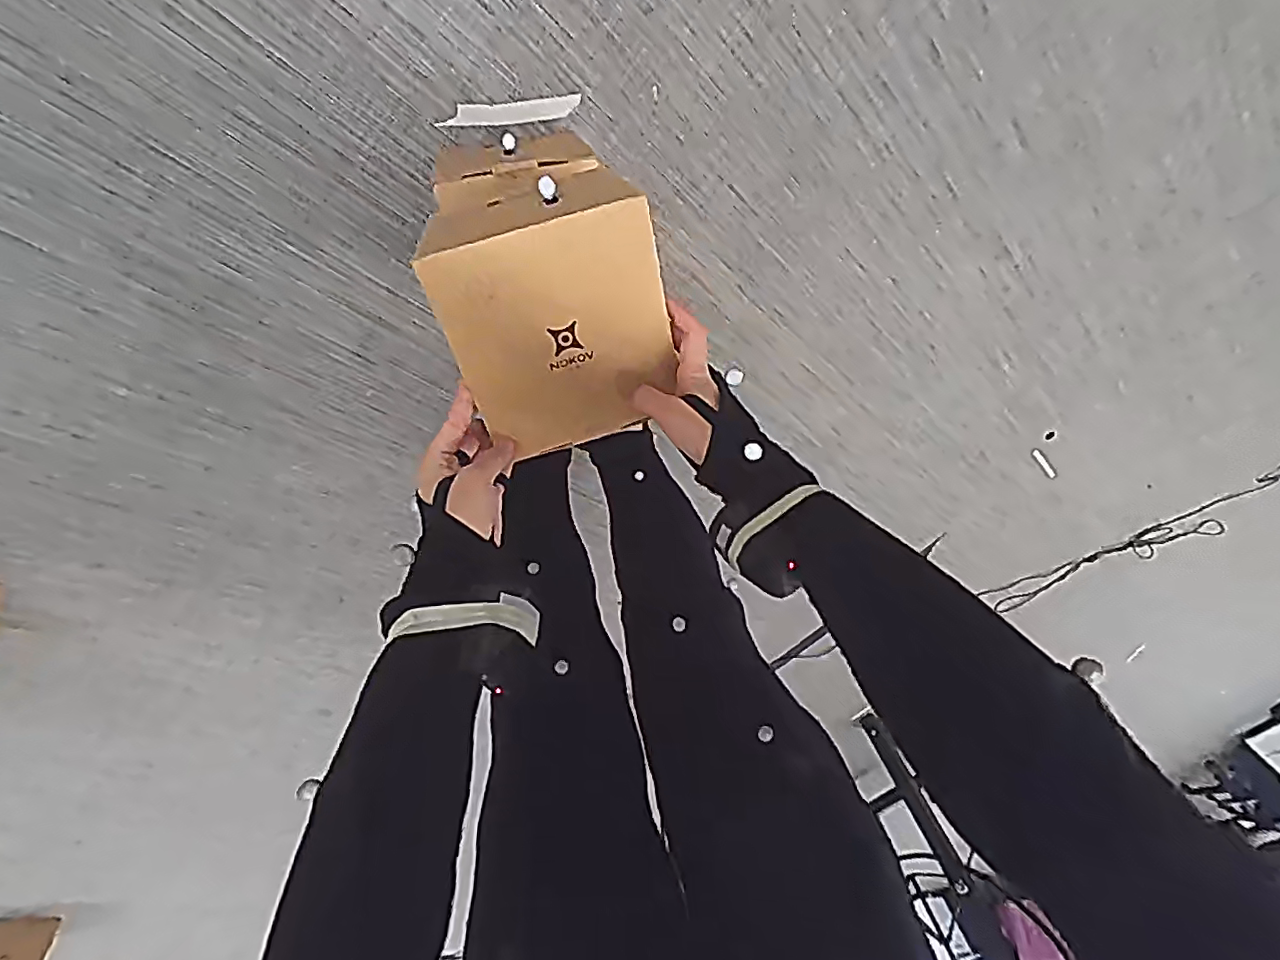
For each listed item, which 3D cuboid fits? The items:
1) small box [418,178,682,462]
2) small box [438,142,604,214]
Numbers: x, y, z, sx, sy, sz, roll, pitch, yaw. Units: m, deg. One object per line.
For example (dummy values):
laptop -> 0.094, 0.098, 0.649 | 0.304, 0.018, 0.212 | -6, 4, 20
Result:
small box -> -0.076, -0.150, 0.477 | 0.168, 0.176, 0.179 | -18, 128, -4
small box -> -0.130, -0.285, 0.639 | 0.168, 0.176, 0.179 | -13, 131, -7
